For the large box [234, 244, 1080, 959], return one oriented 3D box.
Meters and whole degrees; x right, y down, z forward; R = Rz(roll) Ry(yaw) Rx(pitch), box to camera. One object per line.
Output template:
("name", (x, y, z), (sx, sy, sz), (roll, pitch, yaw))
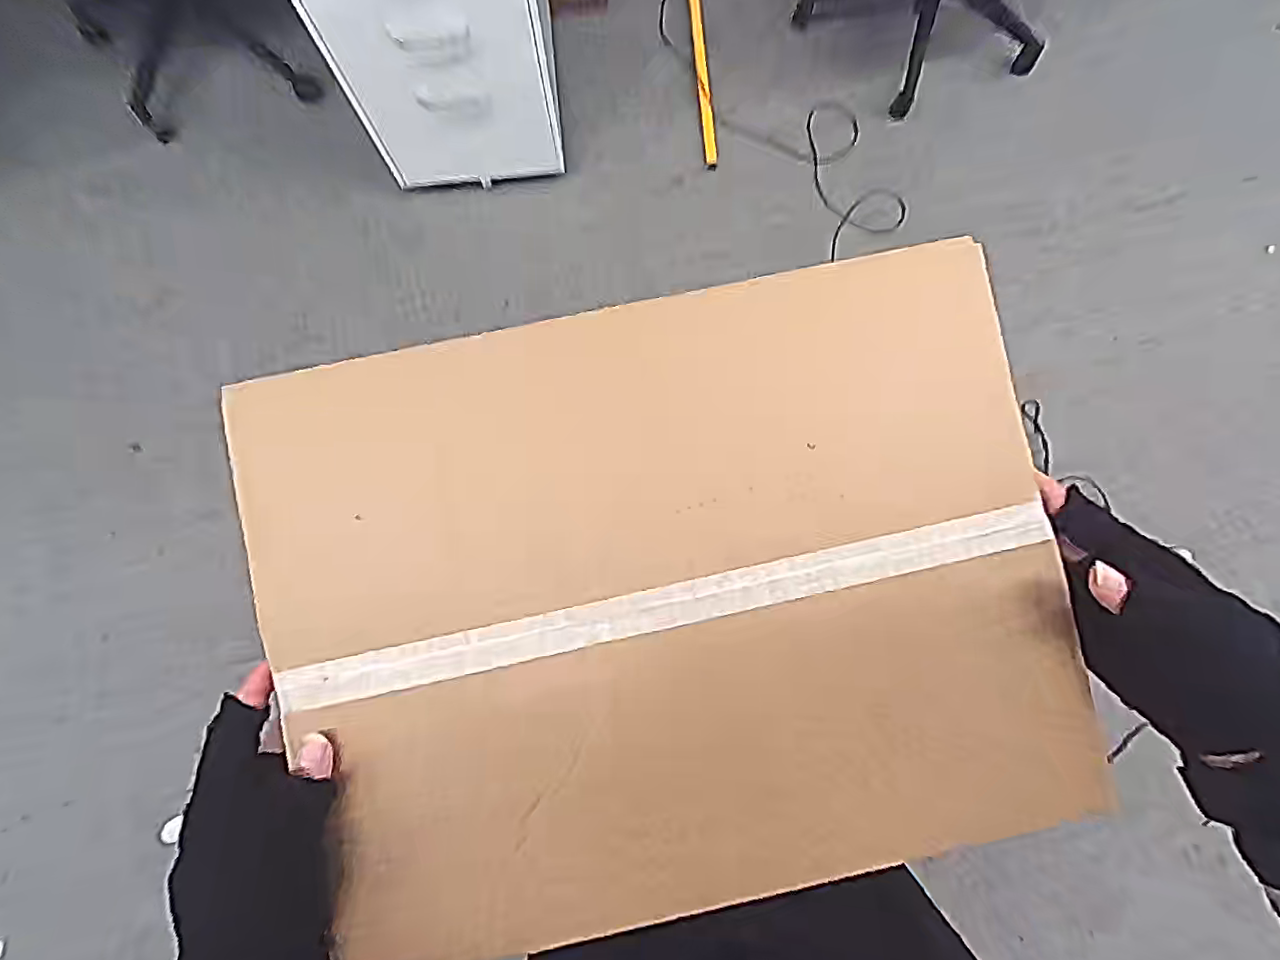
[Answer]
("large box", (0.011, 0.065, 0.433), (0.408, 0.320, 0.320), (-12, 89, -2))
